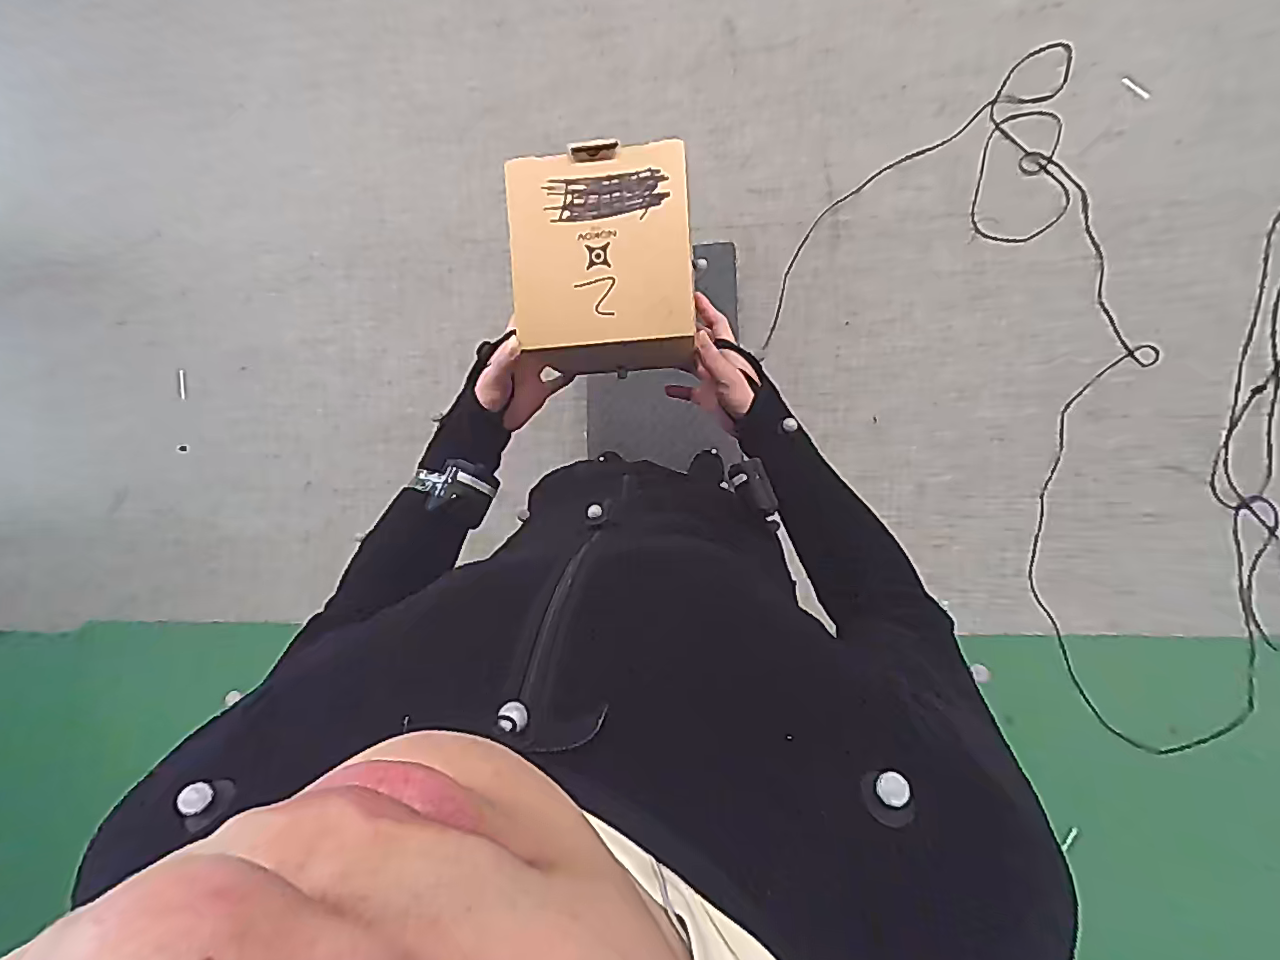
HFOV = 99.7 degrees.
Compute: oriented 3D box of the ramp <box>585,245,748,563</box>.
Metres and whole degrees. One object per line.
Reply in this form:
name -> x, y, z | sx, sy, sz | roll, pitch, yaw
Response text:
ramp -> 0.069, -0.247, 1.694 | 0.509, 0.206, 0.991 | -3, 93, 7
